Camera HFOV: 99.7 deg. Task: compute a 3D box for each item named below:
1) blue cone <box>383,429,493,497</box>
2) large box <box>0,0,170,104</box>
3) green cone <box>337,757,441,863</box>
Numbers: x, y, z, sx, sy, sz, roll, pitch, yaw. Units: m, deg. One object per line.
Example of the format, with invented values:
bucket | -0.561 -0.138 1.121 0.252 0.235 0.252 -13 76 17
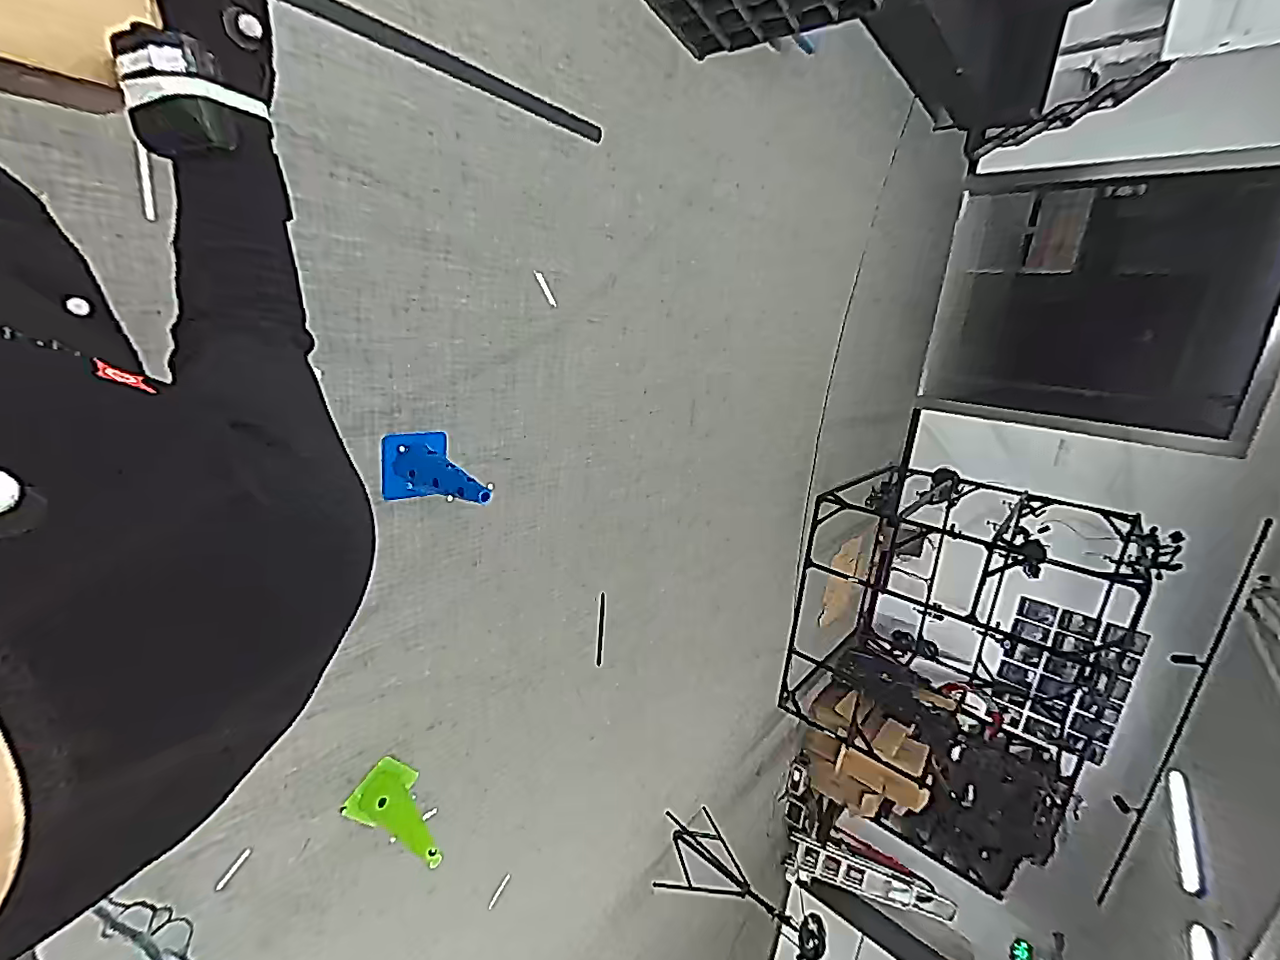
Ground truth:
blue cone | -0.554 -0.015 1.533 0.192 0.380 0.193 -9 112 -51
large box | -0.545 -0.432 0.265 0.408 0.320 0.320 -14 122 -48
green cone | -0.749 1.085 1.712 0.202 0.368 0.200 -52 140 -27
